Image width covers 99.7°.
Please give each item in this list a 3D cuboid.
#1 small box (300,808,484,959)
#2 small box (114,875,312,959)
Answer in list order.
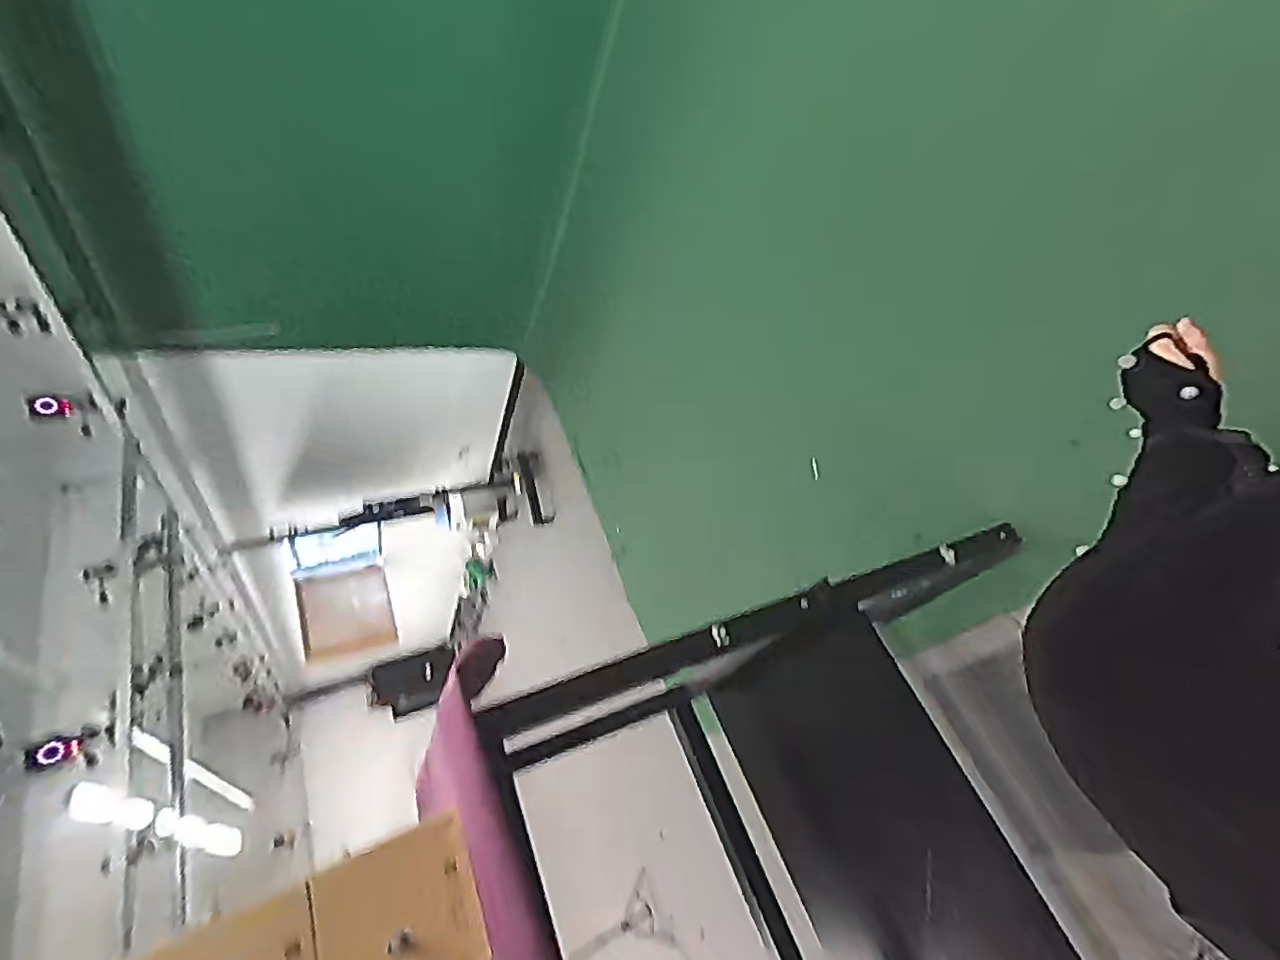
[{"bbox_3d":[-0.301,0.531,0.667,0.168,0.176,0.179,64,146,25],"label":"small box"},{"bbox_3d":[-0.440,0.558,0.583,0.168,0.176,0.179,64,145,25],"label":"small box"}]
